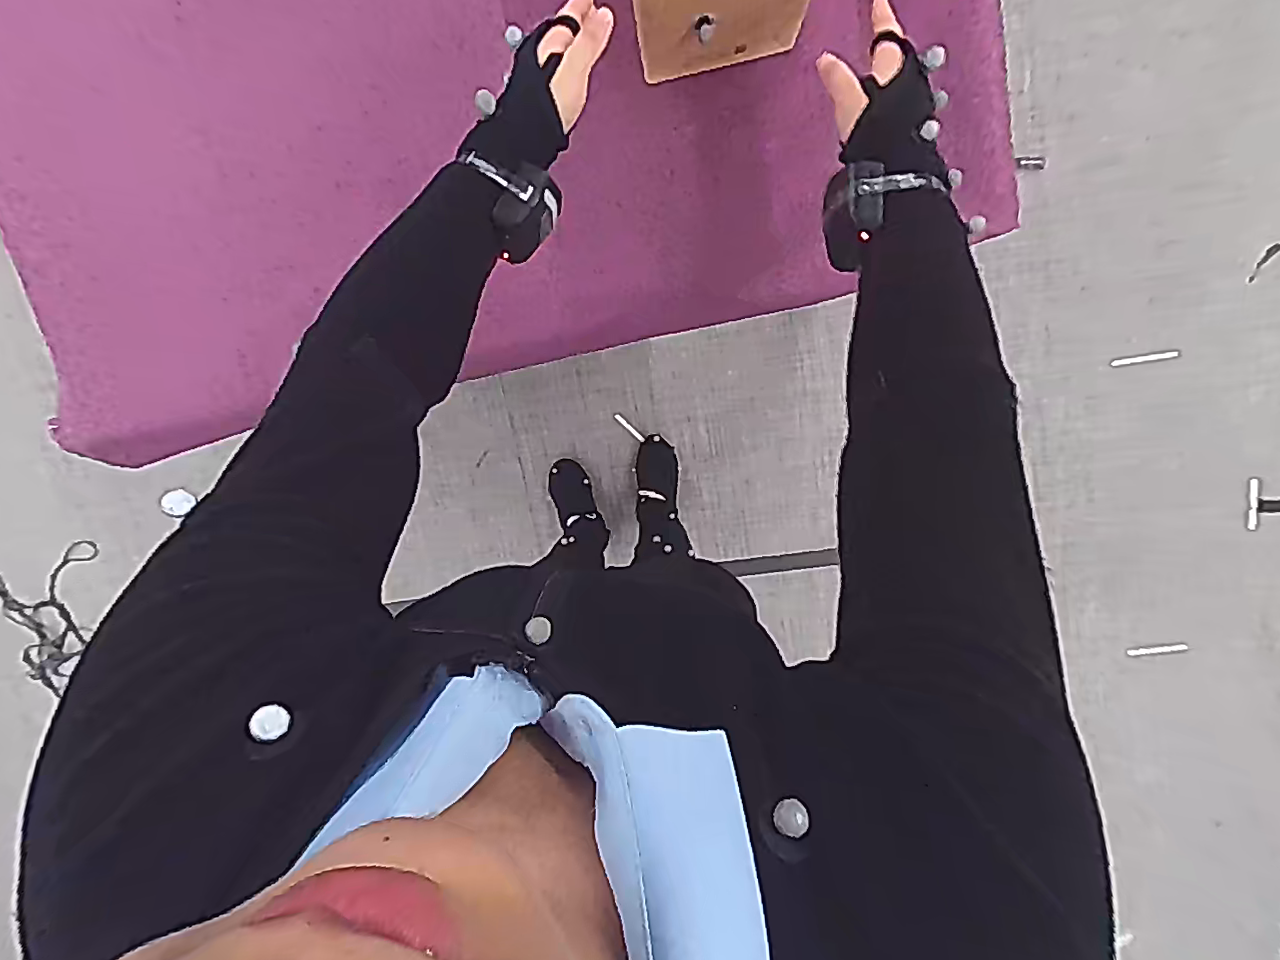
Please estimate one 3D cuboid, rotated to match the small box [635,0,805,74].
[{"bbox_3d":[0.071,-0.529,0.516,0.168,0.176,0.179,-9,100,6],"label":"small box"}]
